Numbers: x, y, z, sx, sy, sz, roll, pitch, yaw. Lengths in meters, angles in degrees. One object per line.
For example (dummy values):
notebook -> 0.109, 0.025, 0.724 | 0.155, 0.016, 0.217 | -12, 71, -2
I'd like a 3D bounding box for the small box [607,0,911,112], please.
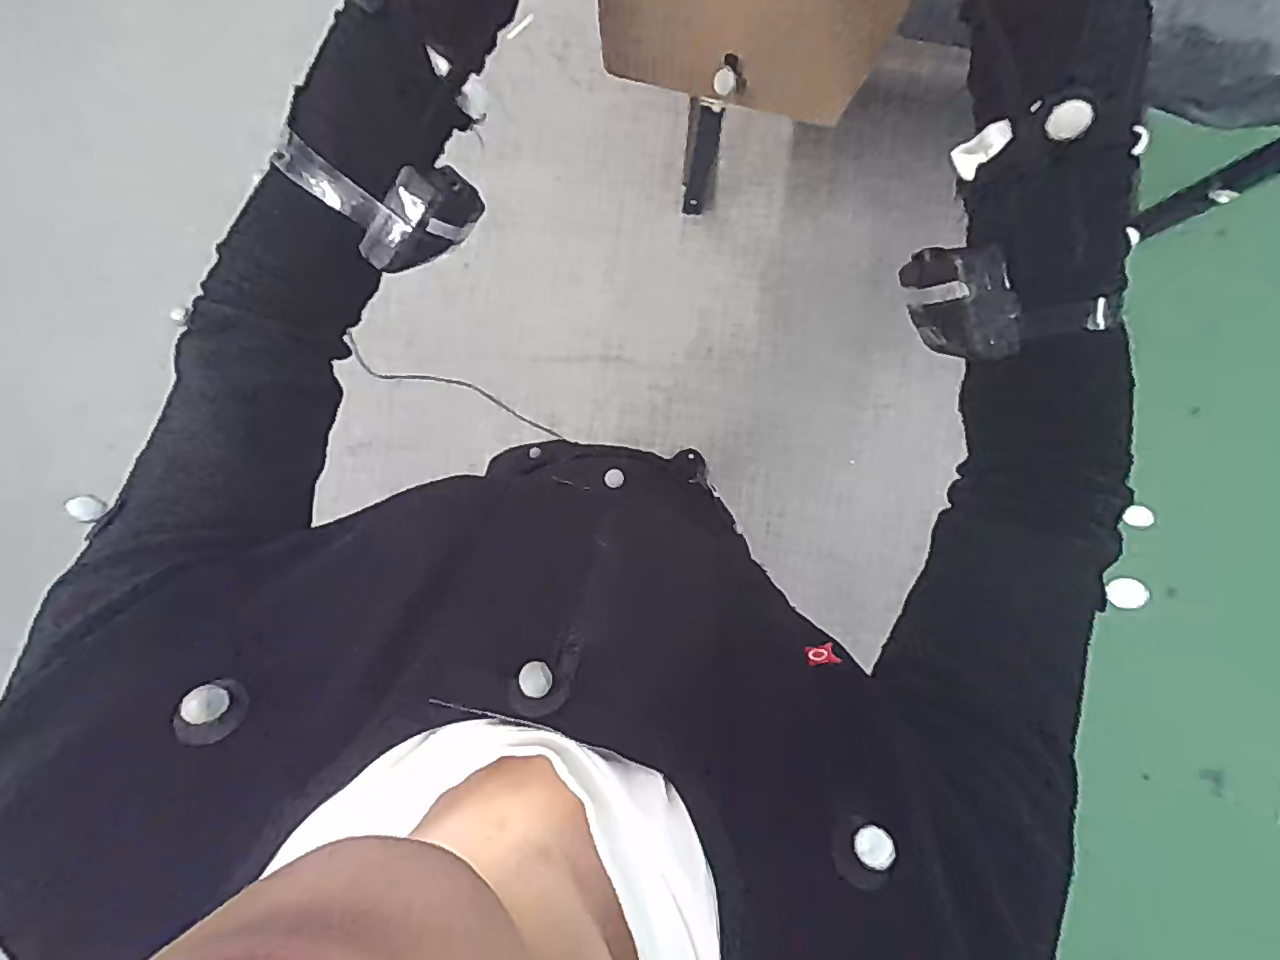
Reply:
small box -> 0.081, -0.354, 0.310 | 0.179, 0.176, 0.168 | 12, 93, -2
